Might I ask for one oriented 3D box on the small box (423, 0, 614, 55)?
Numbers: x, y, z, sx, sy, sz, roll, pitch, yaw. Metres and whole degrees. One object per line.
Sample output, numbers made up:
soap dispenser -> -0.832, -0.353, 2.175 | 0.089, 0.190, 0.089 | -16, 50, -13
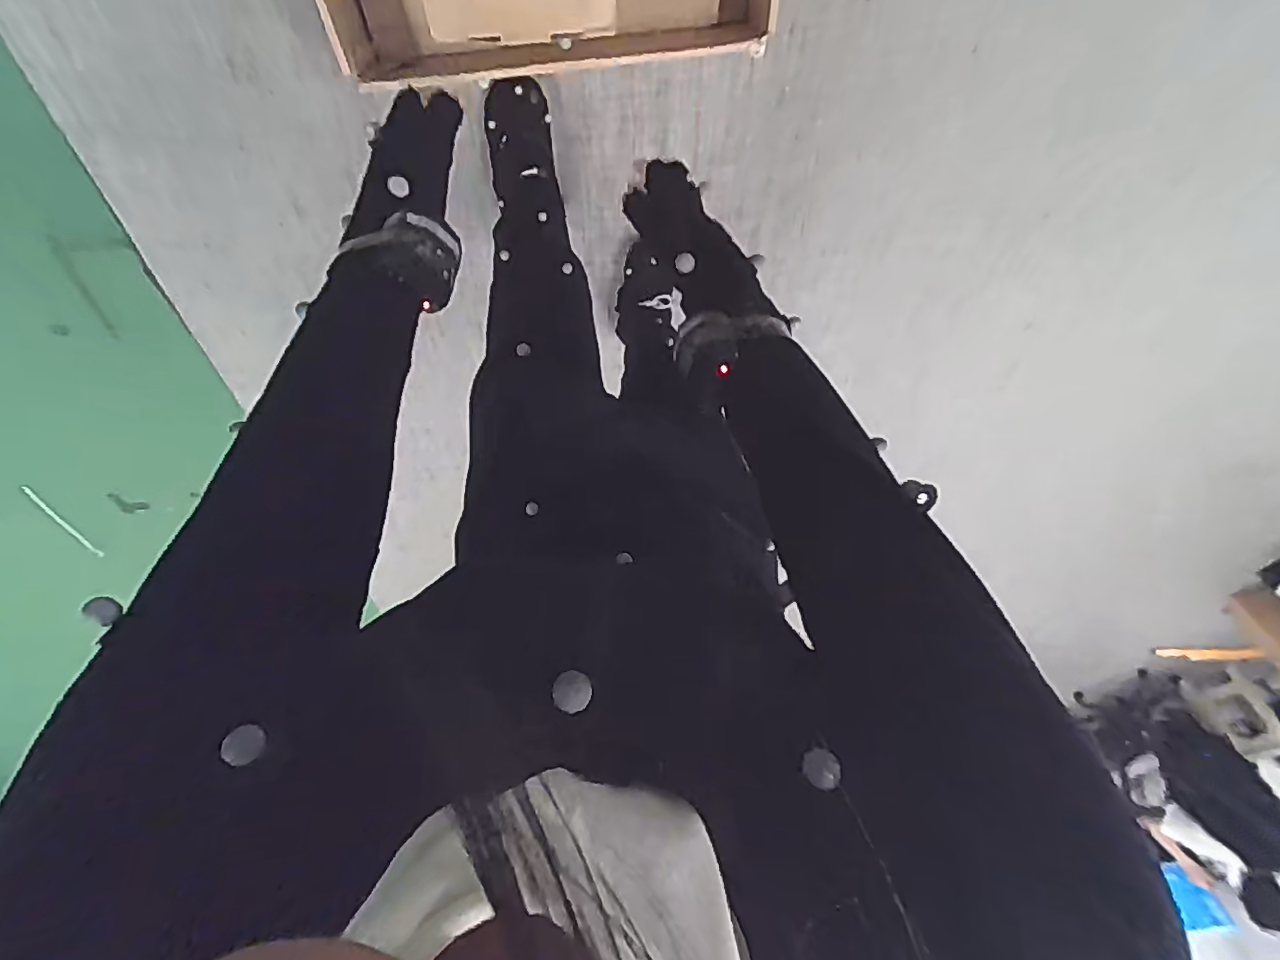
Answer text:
small box -> -0.112, -0.504, 0.485 | 0.168, 0.176, 0.179 | -6, 133, -4
